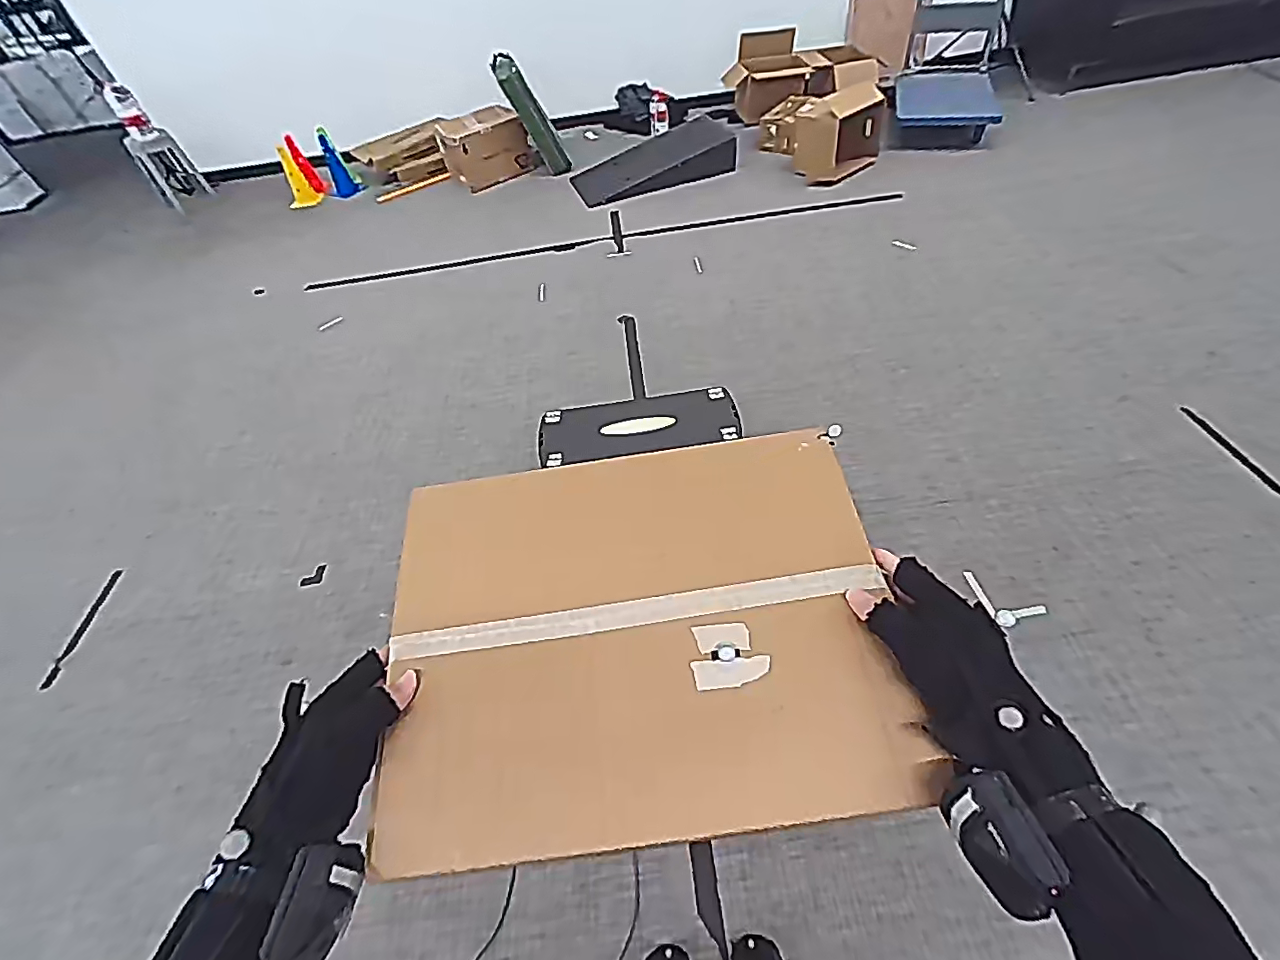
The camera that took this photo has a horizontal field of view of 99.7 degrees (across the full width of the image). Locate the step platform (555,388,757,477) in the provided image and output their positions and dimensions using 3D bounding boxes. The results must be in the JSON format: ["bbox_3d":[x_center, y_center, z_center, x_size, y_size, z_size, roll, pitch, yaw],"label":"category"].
[{"bbox_3d":[0.051,-0.119,1.858,0.684,0.204,0.286,-9,50,0],"label":"step platform"}]

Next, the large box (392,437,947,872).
[{"bbox_3d":[0.014,0.194,0.580,0.408,0.320,0.320,-9,58,1],"label":"large box"}]
